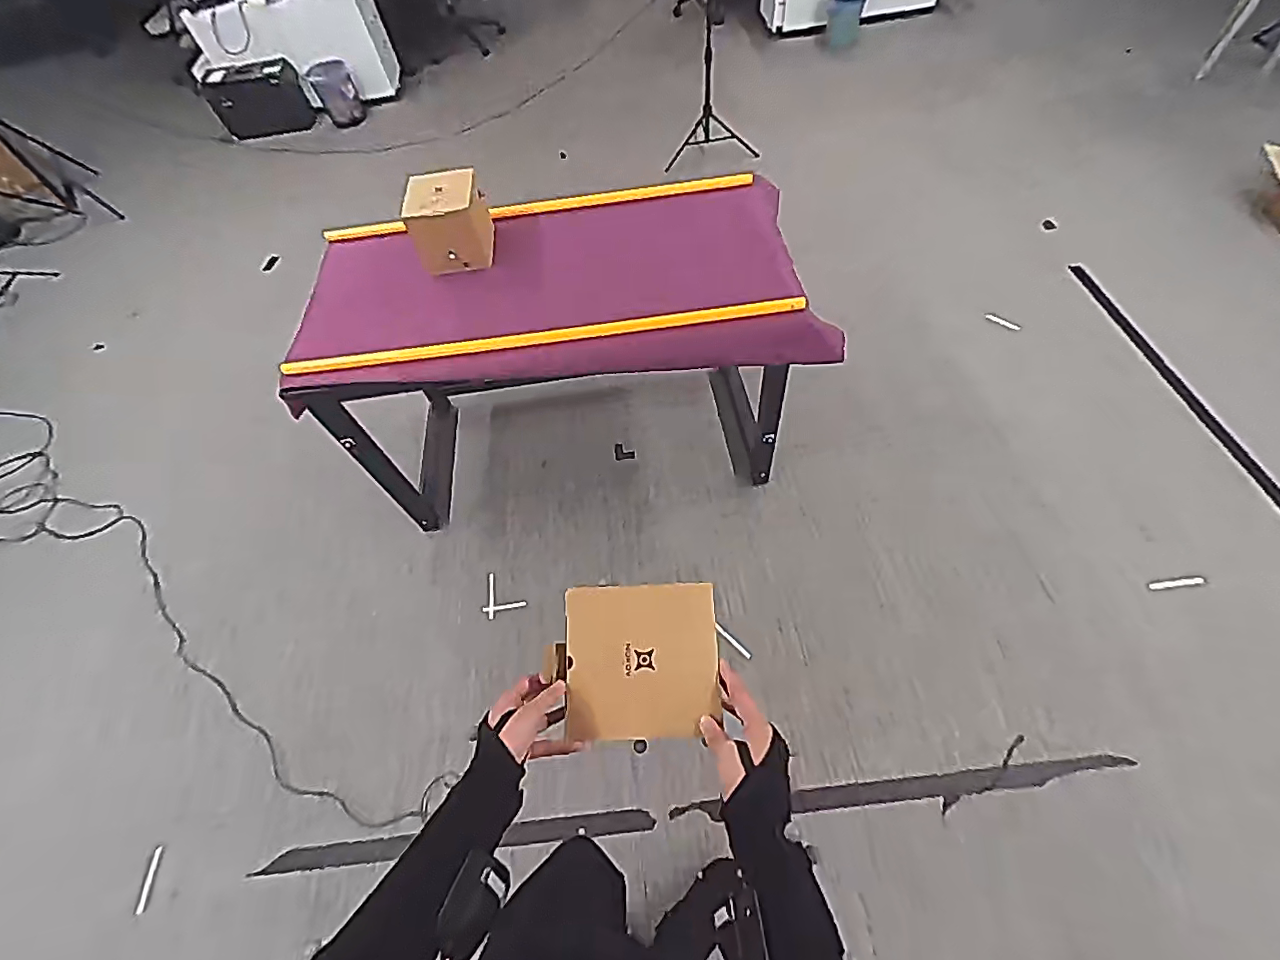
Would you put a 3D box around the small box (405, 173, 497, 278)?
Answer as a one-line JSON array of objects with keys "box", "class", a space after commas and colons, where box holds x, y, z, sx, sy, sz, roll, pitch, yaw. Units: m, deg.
[{"box": [-0.476, -0.651, 1.390, 0.168, 0.176, 0.179, -7, 59, 2], "class": "small box"}]

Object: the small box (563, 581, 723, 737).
[{"box": [0.009, 0.223, 0.682, 0.179, 0.176, 0.168, -5, 70, 6], "class": "small box"}]
